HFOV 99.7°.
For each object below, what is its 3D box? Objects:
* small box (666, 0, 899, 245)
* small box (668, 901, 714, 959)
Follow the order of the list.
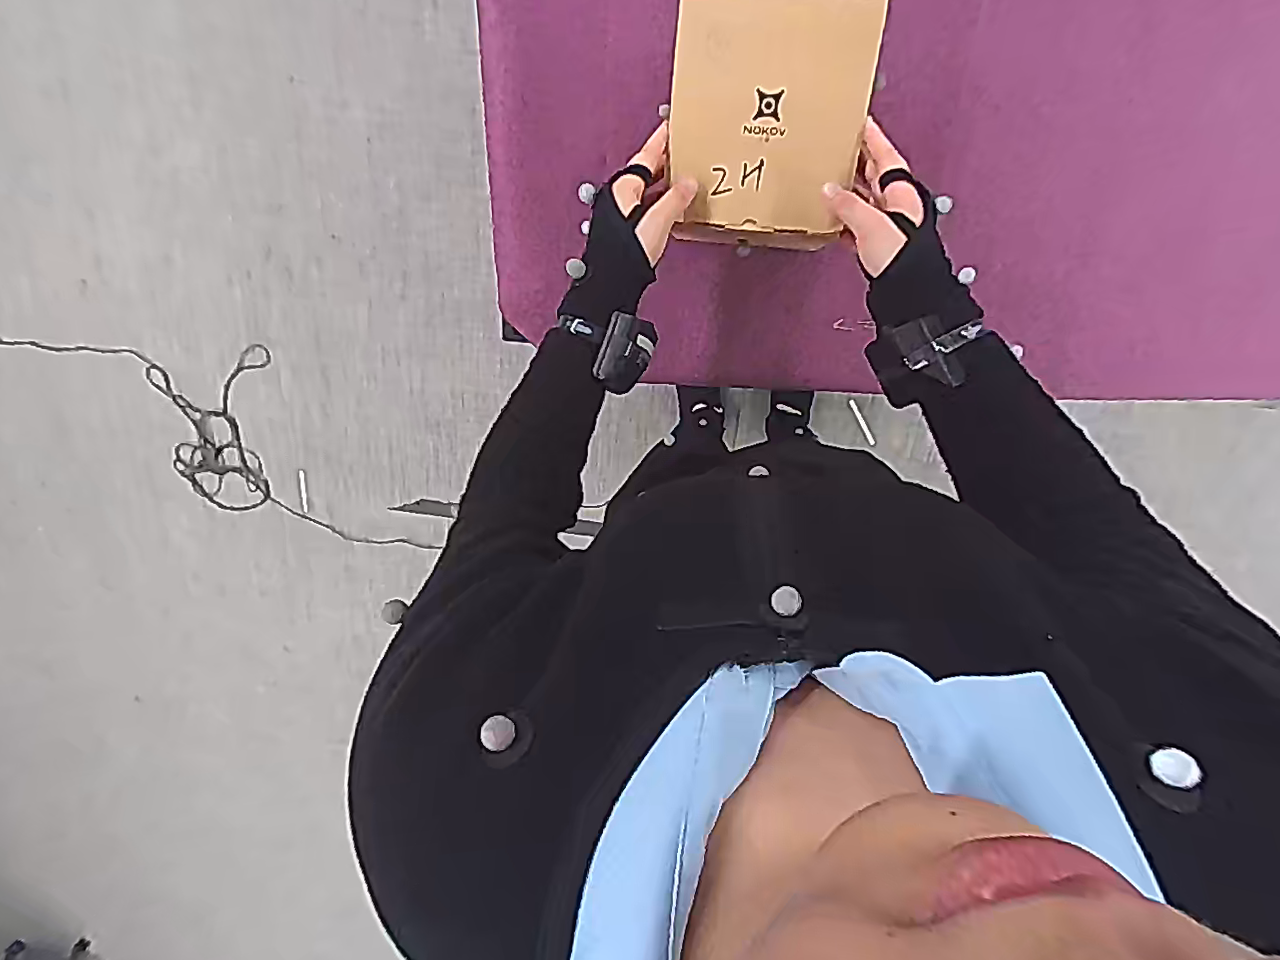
[{"bbox_3d":[0.122,-0.333,0.520,0.168,0.176,0.179,8,110,7],"label":"small box"},{"bbox_3d":[0.191,1.742,2.040,0.168,0.176,0.179,1,109,5],"label":"small box"}]
